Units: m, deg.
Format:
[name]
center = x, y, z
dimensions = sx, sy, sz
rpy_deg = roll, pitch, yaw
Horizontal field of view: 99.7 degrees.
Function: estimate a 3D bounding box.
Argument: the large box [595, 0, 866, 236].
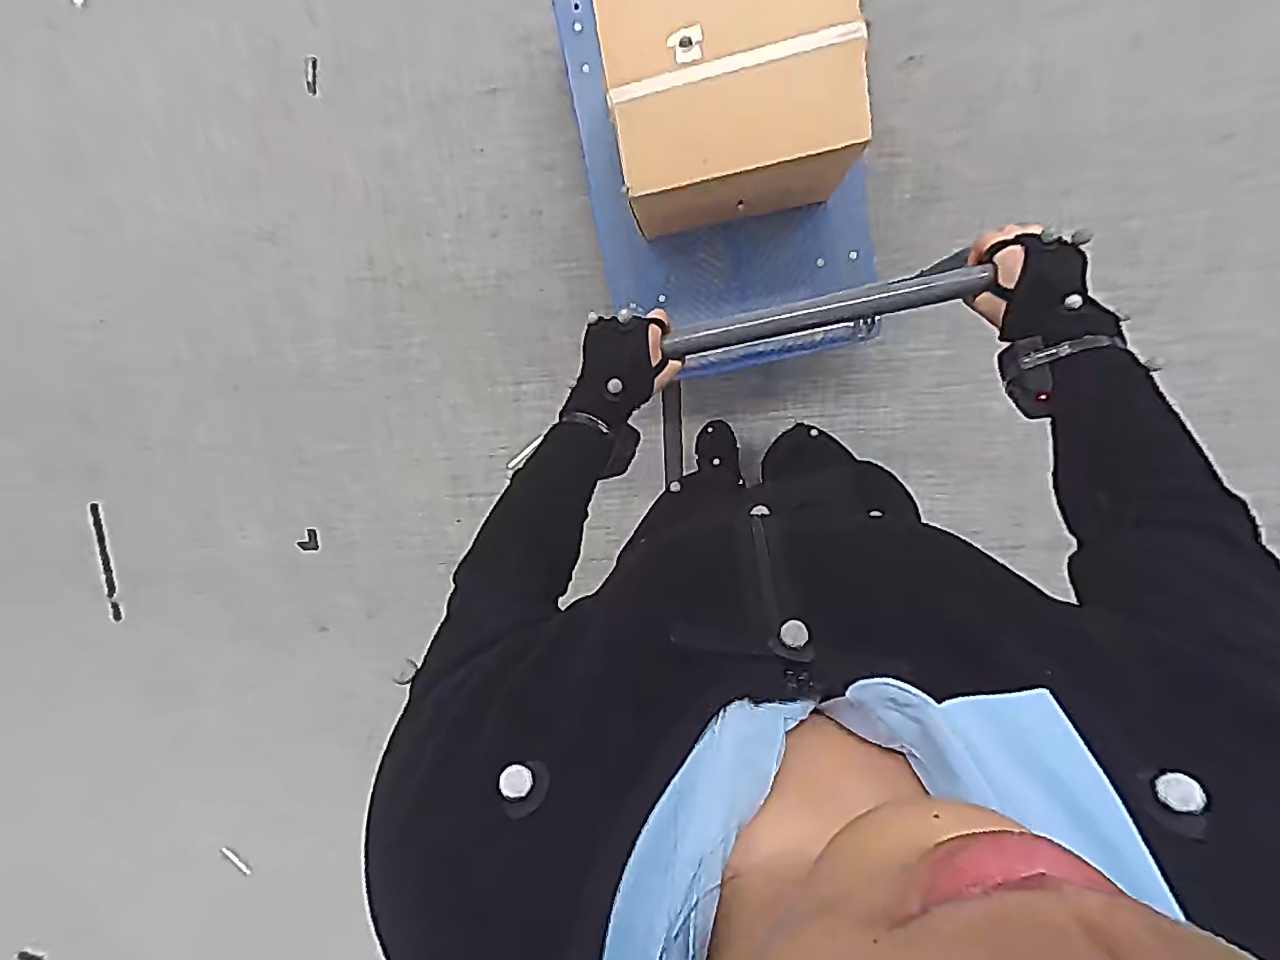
[large box]
center = 0.165, -0.698, 1.026
dimensions = 0.408, 0.320, 0.320
rpy_deg = -9, 99, 9
